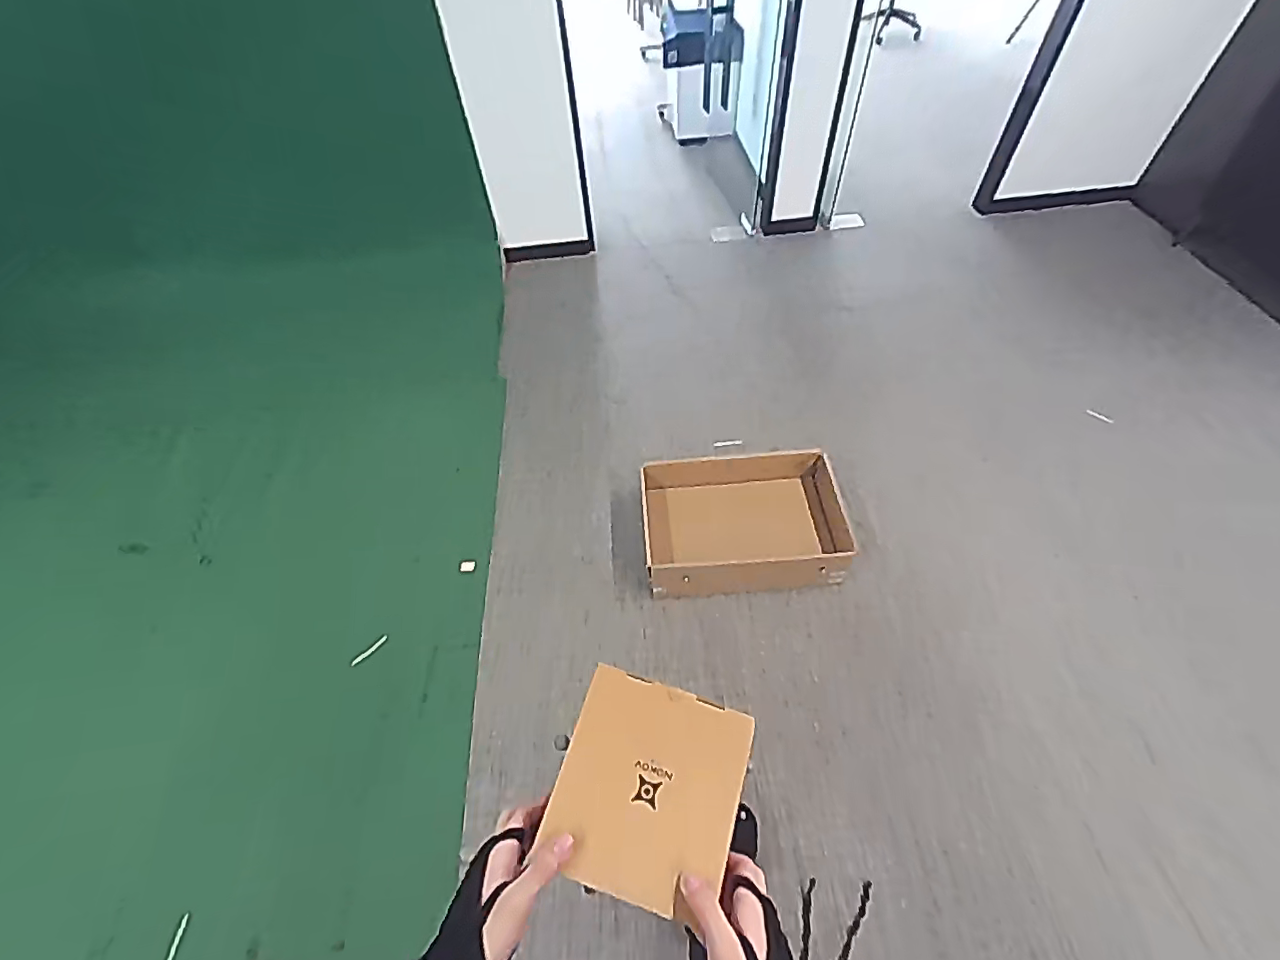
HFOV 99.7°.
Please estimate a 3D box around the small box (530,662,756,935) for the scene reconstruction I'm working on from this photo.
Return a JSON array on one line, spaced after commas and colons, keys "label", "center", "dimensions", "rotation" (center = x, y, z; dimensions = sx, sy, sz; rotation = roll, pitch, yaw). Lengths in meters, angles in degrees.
[{"label": "small box", "center": [0.005, 0.316, 0.560], "dimensions": [0.168, 0.176, 0.179], "rotation": [18, 61, 6]}]
